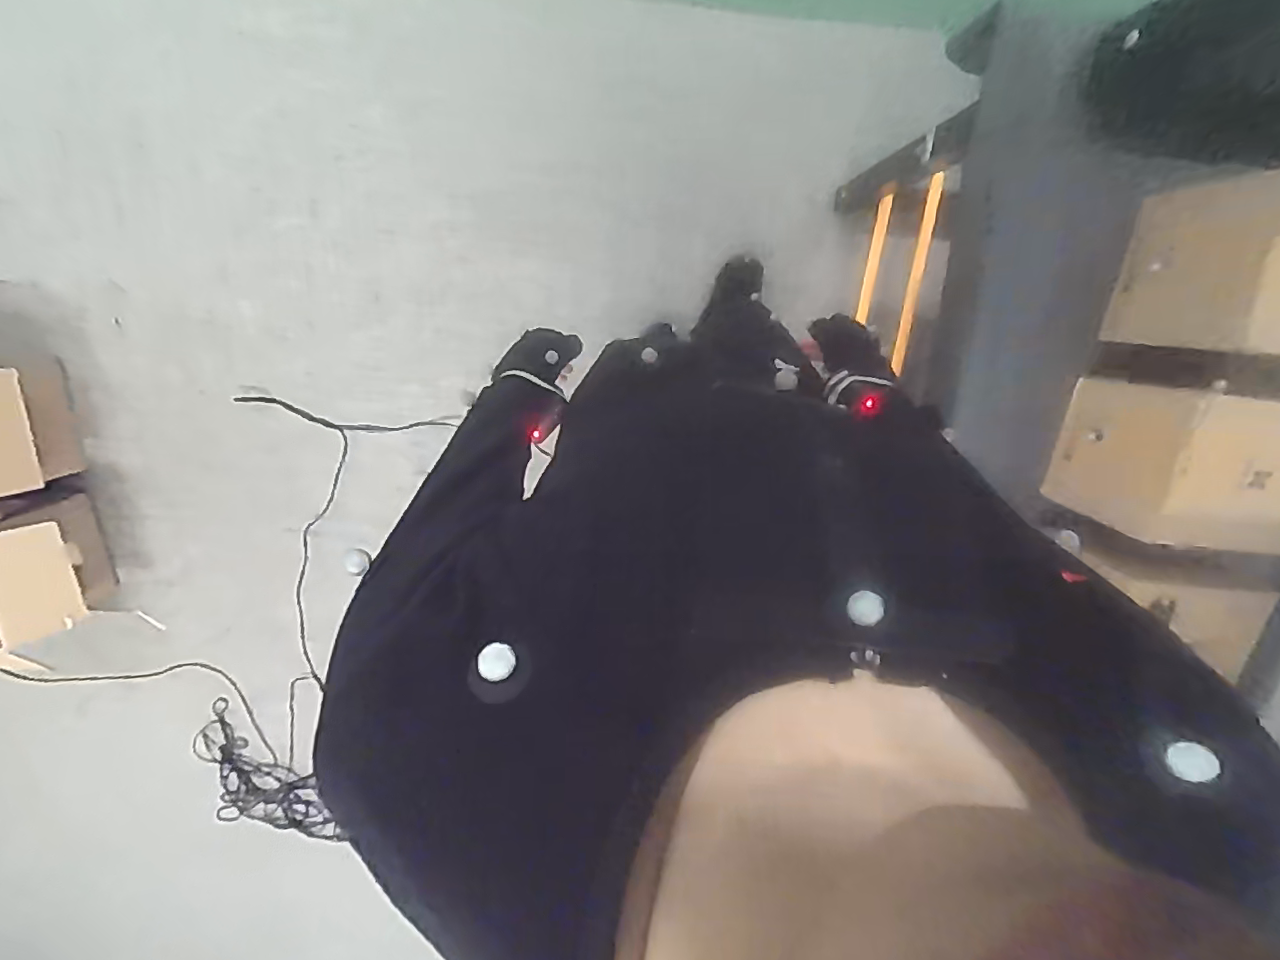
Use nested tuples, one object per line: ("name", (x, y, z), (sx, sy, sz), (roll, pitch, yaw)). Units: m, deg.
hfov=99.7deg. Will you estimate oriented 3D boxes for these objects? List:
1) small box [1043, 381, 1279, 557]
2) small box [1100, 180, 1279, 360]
("small box", (0.647, -0.022, 0.649), (0.179, 0.176, 0.168), (5, 108, -1))
("small box", (0.670, -0.219, 0.585), (0.179, 0.176, 0.168), (4, 107, -2))
